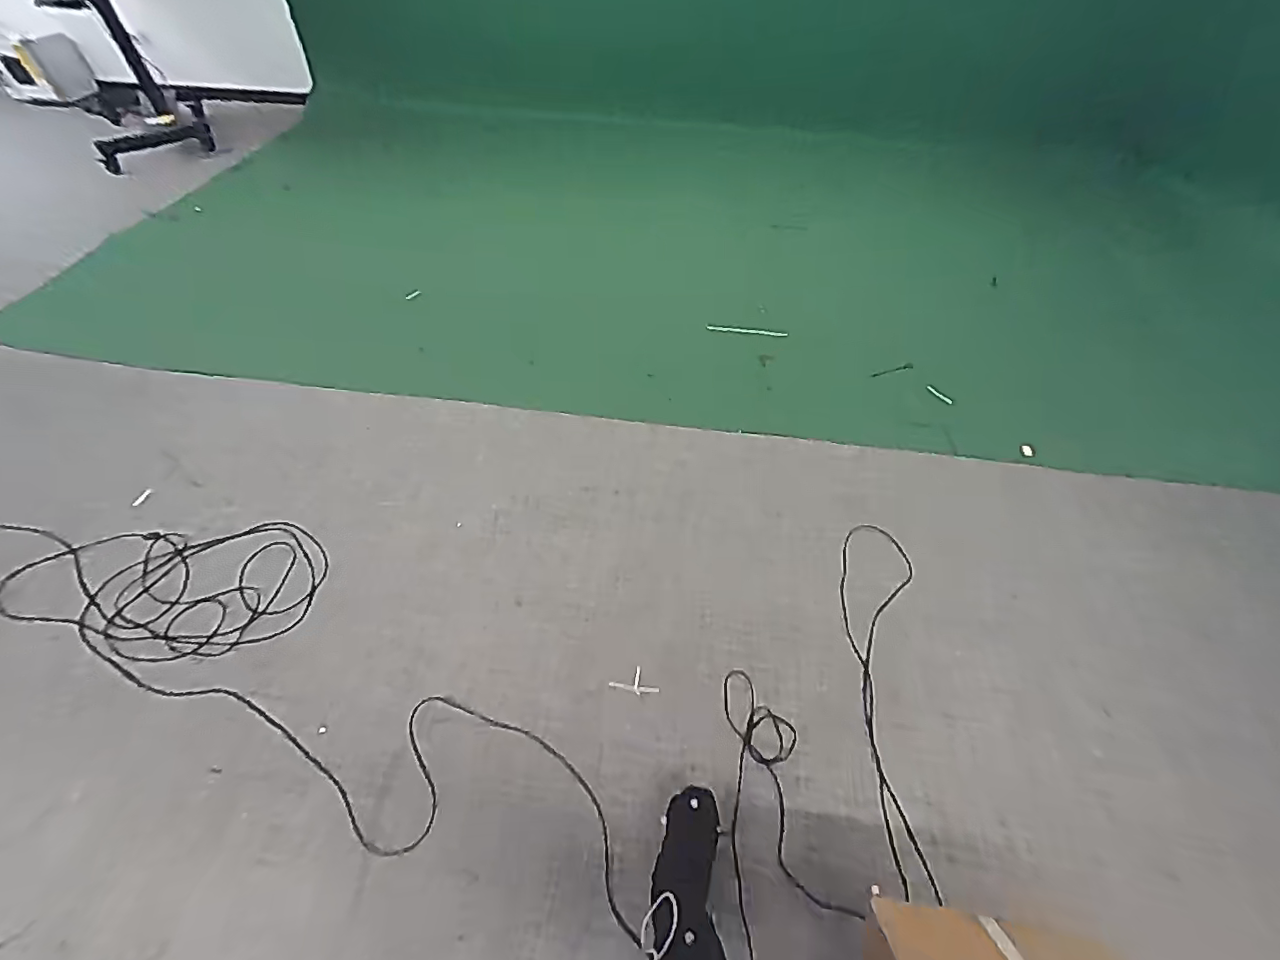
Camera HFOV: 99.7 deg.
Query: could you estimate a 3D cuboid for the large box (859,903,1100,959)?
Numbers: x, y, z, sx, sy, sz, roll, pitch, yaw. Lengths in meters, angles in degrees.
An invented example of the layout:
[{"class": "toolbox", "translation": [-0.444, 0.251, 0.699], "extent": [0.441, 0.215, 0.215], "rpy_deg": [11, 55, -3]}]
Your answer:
[{"class": "large box", "translation": [0.442, 0.768, 0.567], "extent": [0.320, 0.408, 0.320], "rpy_deg": [9, 88, 5]}]
